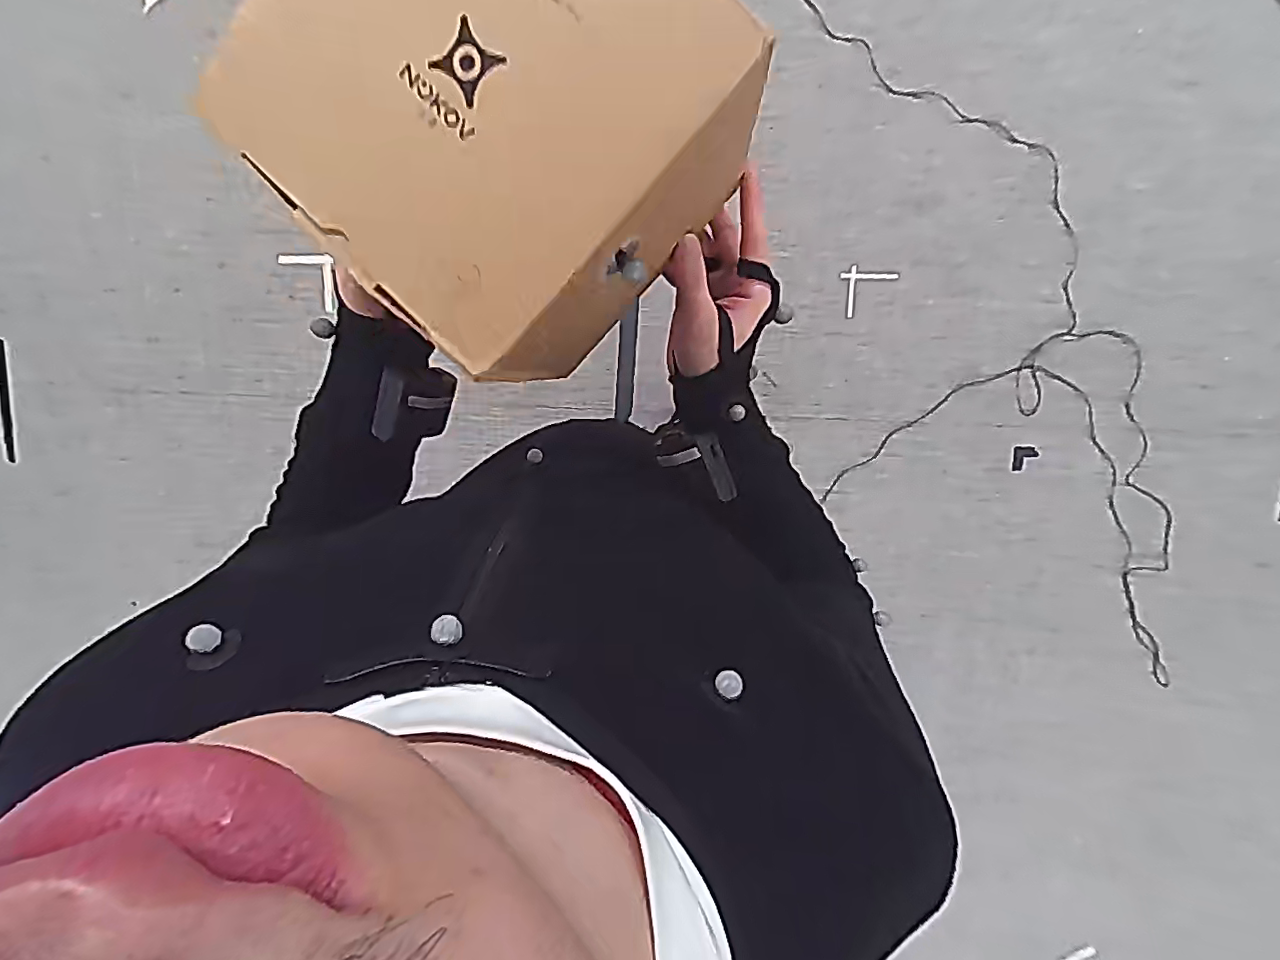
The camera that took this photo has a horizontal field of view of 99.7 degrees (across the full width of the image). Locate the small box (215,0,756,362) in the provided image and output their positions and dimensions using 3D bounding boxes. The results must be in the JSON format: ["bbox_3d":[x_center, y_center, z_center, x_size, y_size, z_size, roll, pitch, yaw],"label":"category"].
[{"bbox_3d":[-0.061,-0.181,0.299,0.168,0.176,0.179,44,101,-4],"label":"small box"}]
